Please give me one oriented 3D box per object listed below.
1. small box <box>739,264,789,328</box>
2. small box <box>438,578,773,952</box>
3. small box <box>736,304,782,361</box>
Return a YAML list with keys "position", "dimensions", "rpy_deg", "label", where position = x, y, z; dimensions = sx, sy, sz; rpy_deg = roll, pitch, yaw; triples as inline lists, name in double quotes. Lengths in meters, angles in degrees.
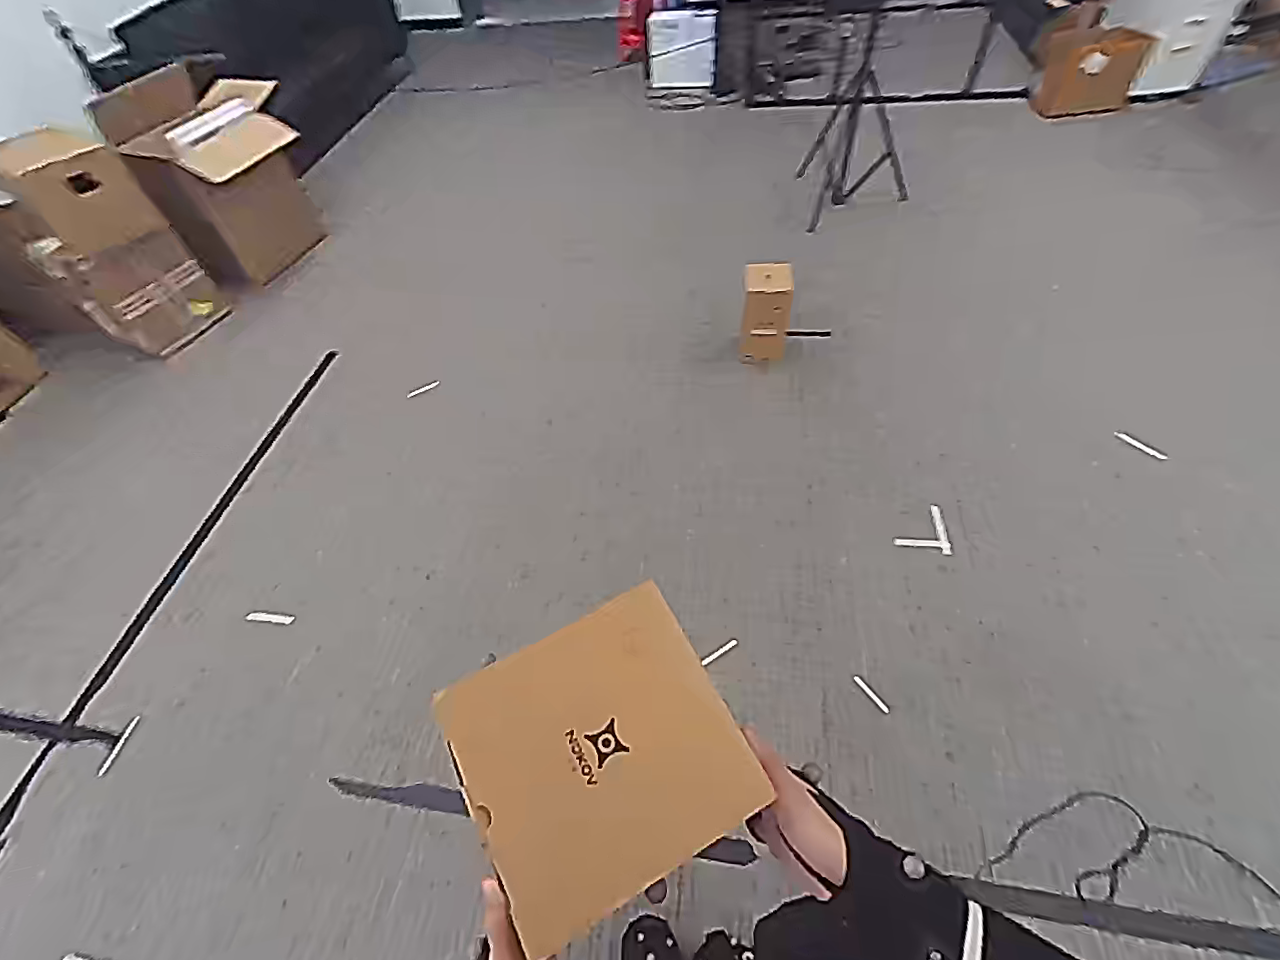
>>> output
- position: [0.463, -0.691, 2.036]
  dimensions: [0.168, 0.176, 0.179]
  rpy_deg: [2, 53, 6]
  label: "small box"
- position: [-0.029, 0.204, 0.430]
  dimensions: [0.179, 0.176, 0.168]
  rpy_deg: [-26, 69, -12]
  label: "small box"
- position: [0.474, -0.593, 2.166]
  dimensions: [0.168, 0.176, 0.179]
  rpy_deg: [2, 53, 7]
  label: "small box"
